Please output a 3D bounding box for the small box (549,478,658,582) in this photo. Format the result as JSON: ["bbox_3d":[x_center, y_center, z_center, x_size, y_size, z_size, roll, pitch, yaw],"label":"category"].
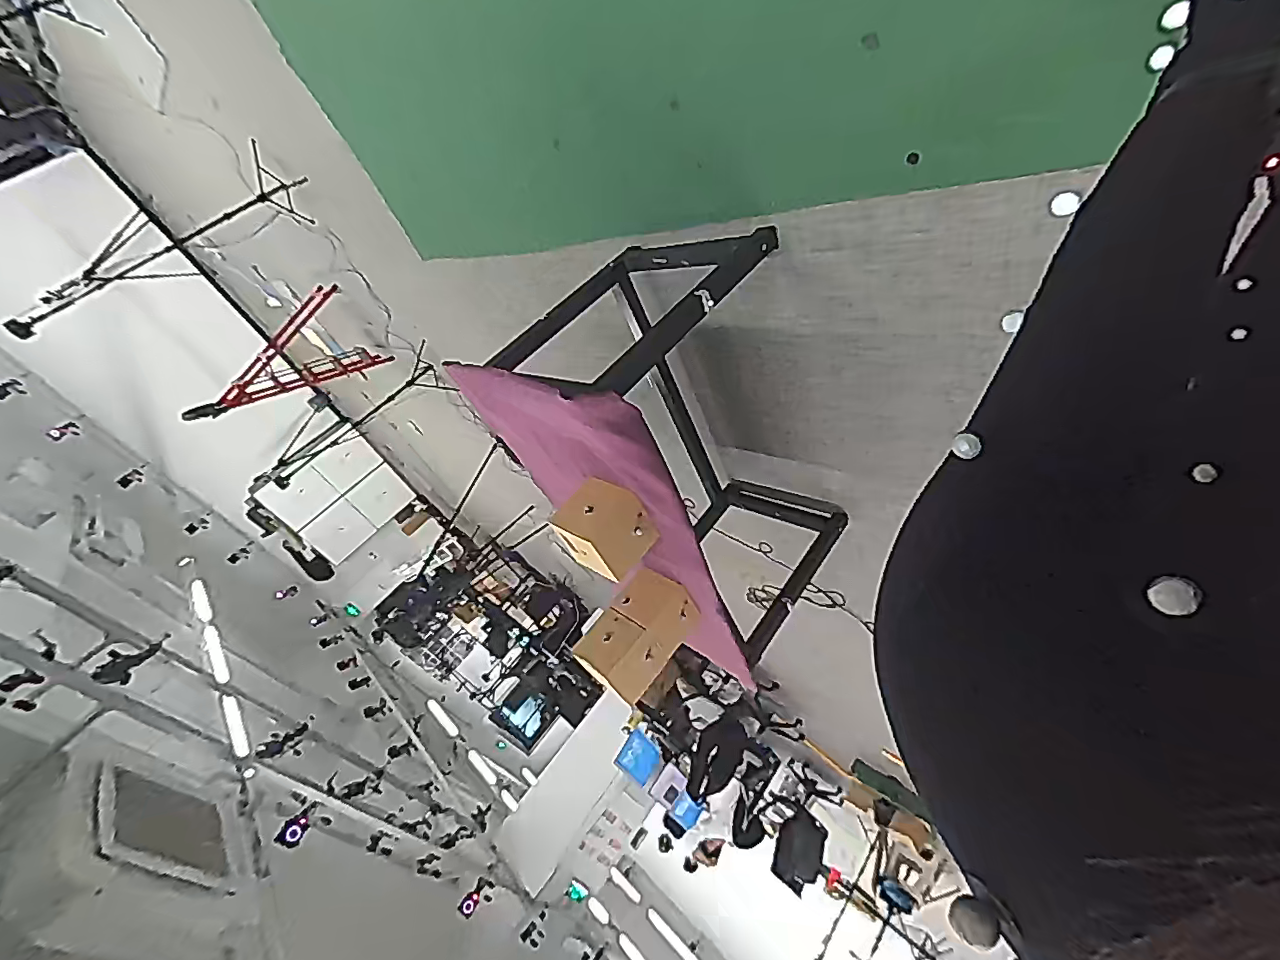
[{"bbox_3d":[-0.087,0.117,1.350,0.179,0.176,0.168,18,147,44],"label":"small box"}]

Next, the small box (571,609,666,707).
[{"bbox_3d":[-0.057,0.500,1.544,0.168,0.176,0.179,19,147,47],"label":"small box"}]

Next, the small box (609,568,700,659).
[{"bbox_3d":[0.046,0.388,1.606,0.179,0.176,0.168,19,148,47],"label":"small box"}]
